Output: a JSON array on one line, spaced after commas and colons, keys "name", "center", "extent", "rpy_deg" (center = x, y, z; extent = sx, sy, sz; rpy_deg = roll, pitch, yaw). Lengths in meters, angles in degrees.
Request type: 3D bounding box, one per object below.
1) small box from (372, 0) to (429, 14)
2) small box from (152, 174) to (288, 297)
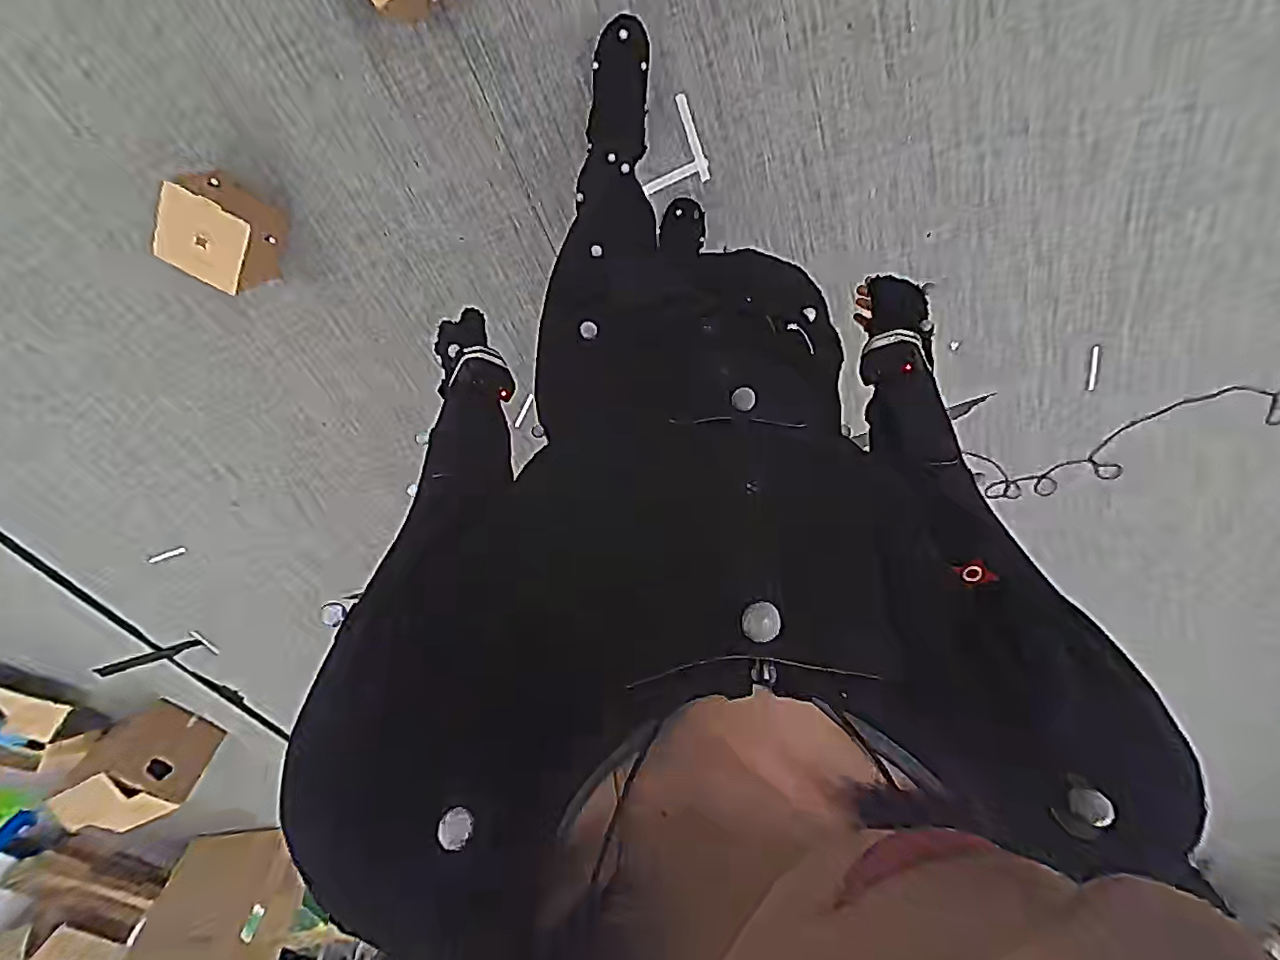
[{"name": "small box", "center": [-0.420, -0.944, 0.927], "extent": [0.168, 0.176, 0.179], "rpy_deg": [-25, 123, 14]}, {"name": "small box", "center": [-0.911, -0.542, 1.187], "extent": [0.168, 0.176, 0.179], "rpy_deg": [28, 120, -18]}]
